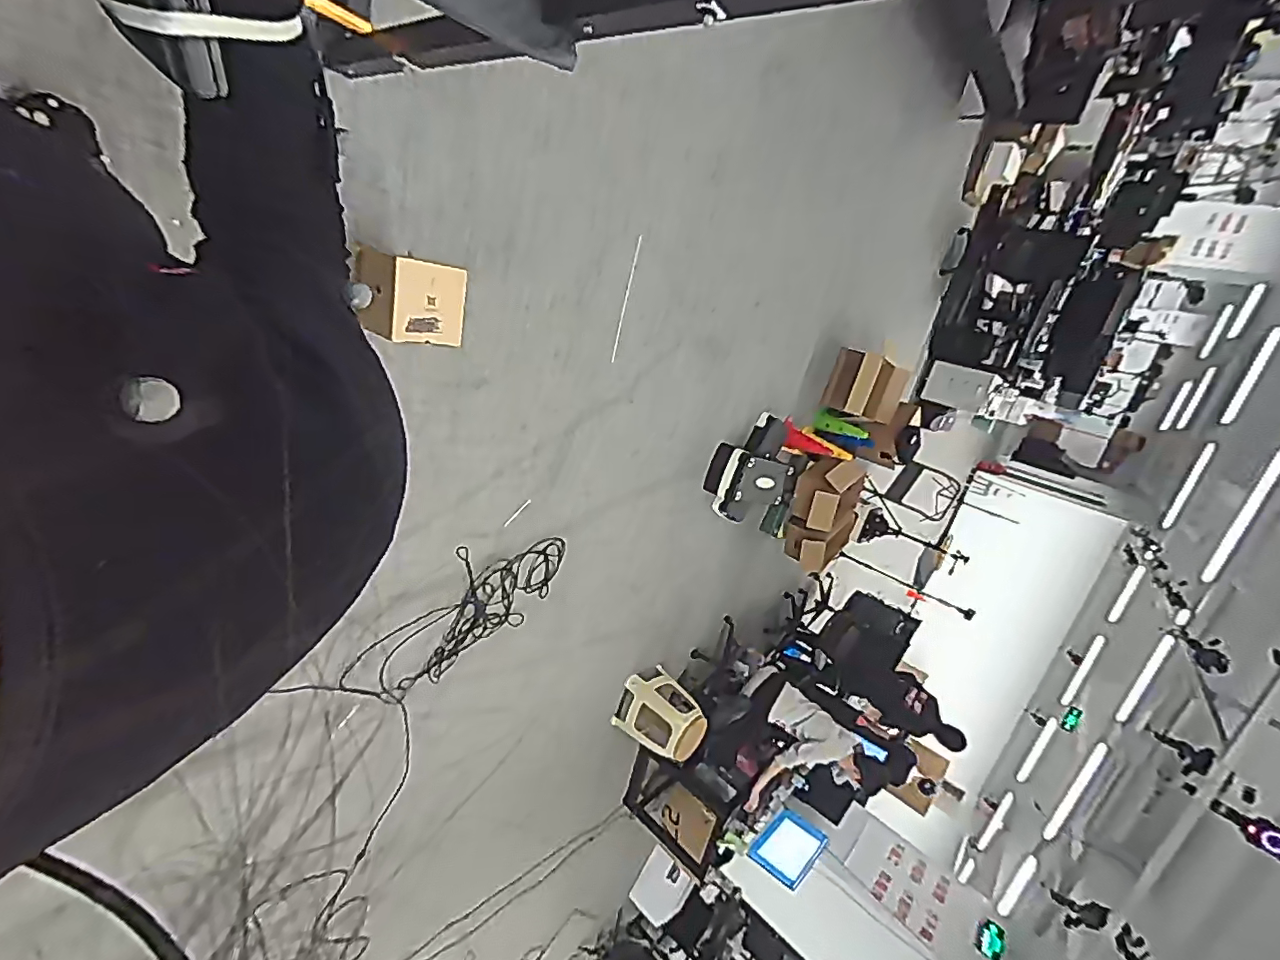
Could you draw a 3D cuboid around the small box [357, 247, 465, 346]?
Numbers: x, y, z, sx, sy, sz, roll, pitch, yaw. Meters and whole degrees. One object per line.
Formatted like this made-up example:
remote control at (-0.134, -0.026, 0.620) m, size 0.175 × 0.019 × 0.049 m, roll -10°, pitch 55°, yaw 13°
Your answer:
small box at (-0.524, -0.415, 1.229) m, size 0.168 × 0.176 × 0.179 m, roll -9°, pitch 118°, yaw -49°
